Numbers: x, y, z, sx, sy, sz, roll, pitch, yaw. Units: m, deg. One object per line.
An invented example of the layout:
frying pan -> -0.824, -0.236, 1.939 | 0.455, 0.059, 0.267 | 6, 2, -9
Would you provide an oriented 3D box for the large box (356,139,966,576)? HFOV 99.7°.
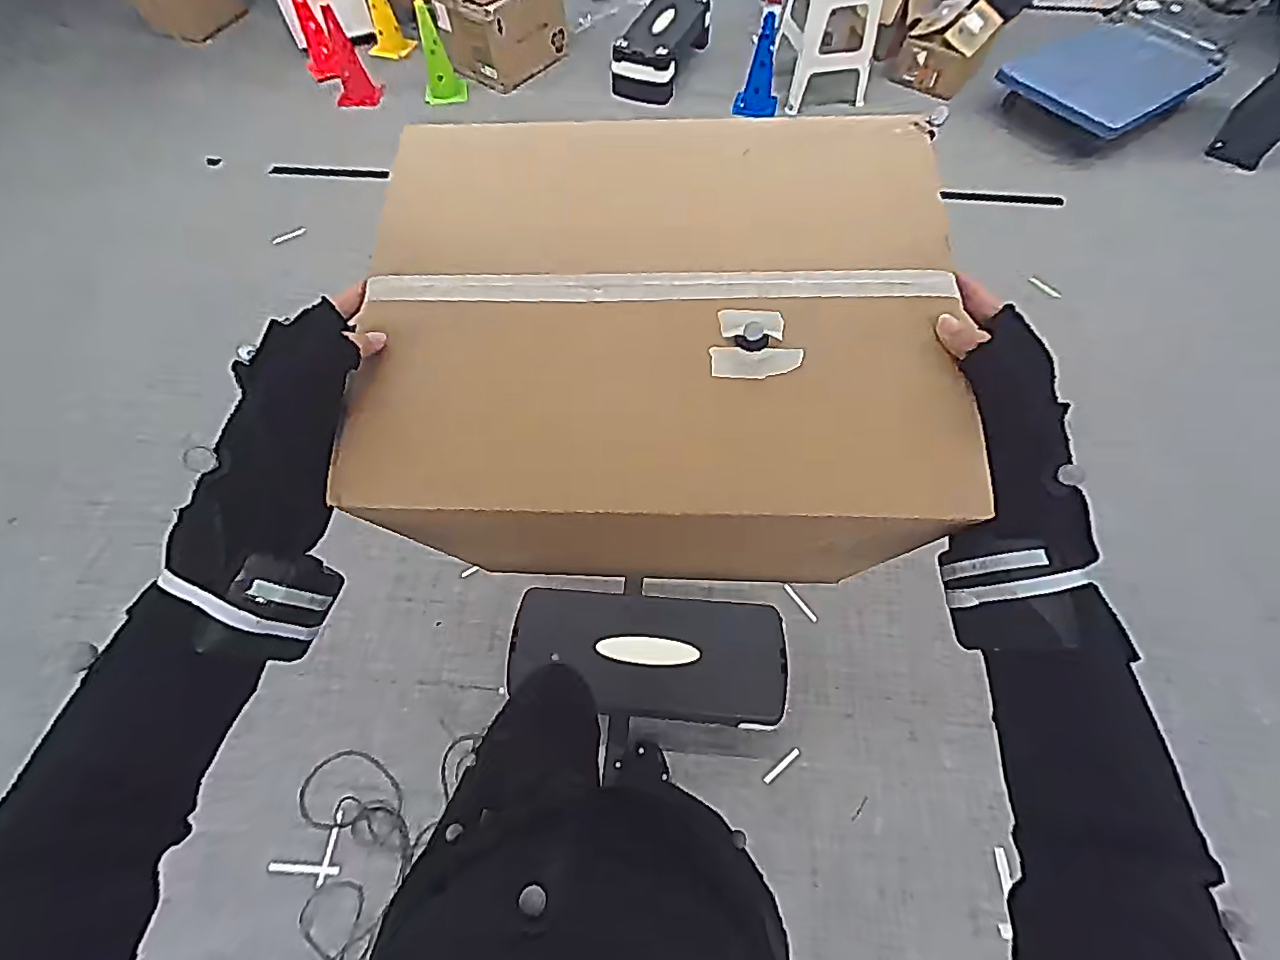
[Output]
large box -> 0.016, -0.082, 0.535 | 0.408, 0.320, 0.320 | 1, 72, 3
